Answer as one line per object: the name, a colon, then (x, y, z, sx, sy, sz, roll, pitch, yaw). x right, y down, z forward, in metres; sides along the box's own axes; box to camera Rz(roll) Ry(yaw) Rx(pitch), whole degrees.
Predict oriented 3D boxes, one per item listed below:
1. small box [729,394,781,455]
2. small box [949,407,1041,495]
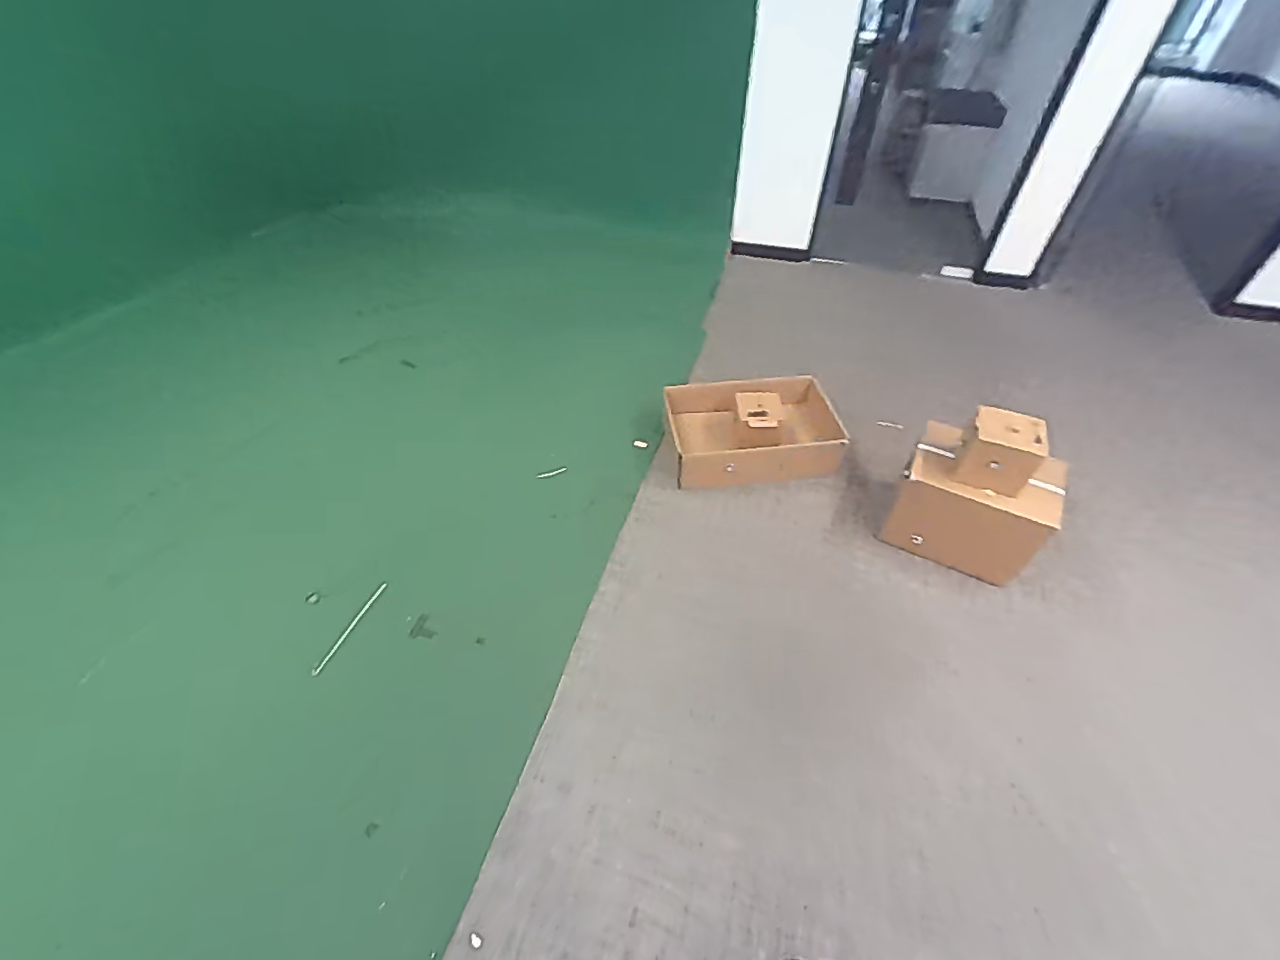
small box: (0.432, -0.208, 2.053, 0.168, 0.176, 0.179, 0, 45, 1)
small box: (1.021, -0.081, 1.569, 0.179, 0.176, 0.168, 18, 50, 17)
